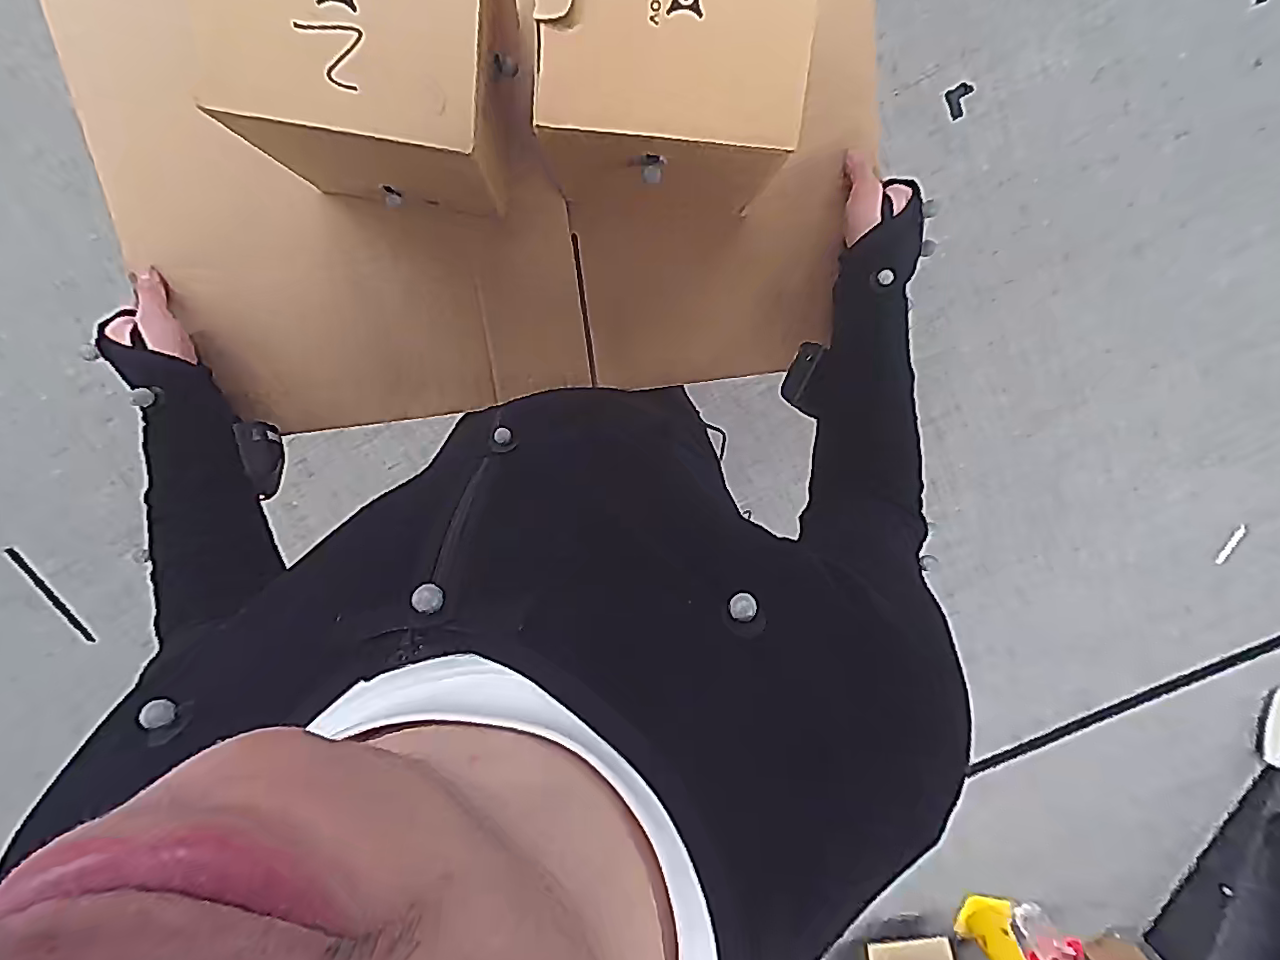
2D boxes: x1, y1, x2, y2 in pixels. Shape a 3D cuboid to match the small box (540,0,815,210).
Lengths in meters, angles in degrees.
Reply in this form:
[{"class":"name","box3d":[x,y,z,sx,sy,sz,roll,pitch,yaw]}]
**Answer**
[{"class":"small box","box3d":[0.026,-0.324,0.426,0.179,0.176,0.168,5,103,0]}]
